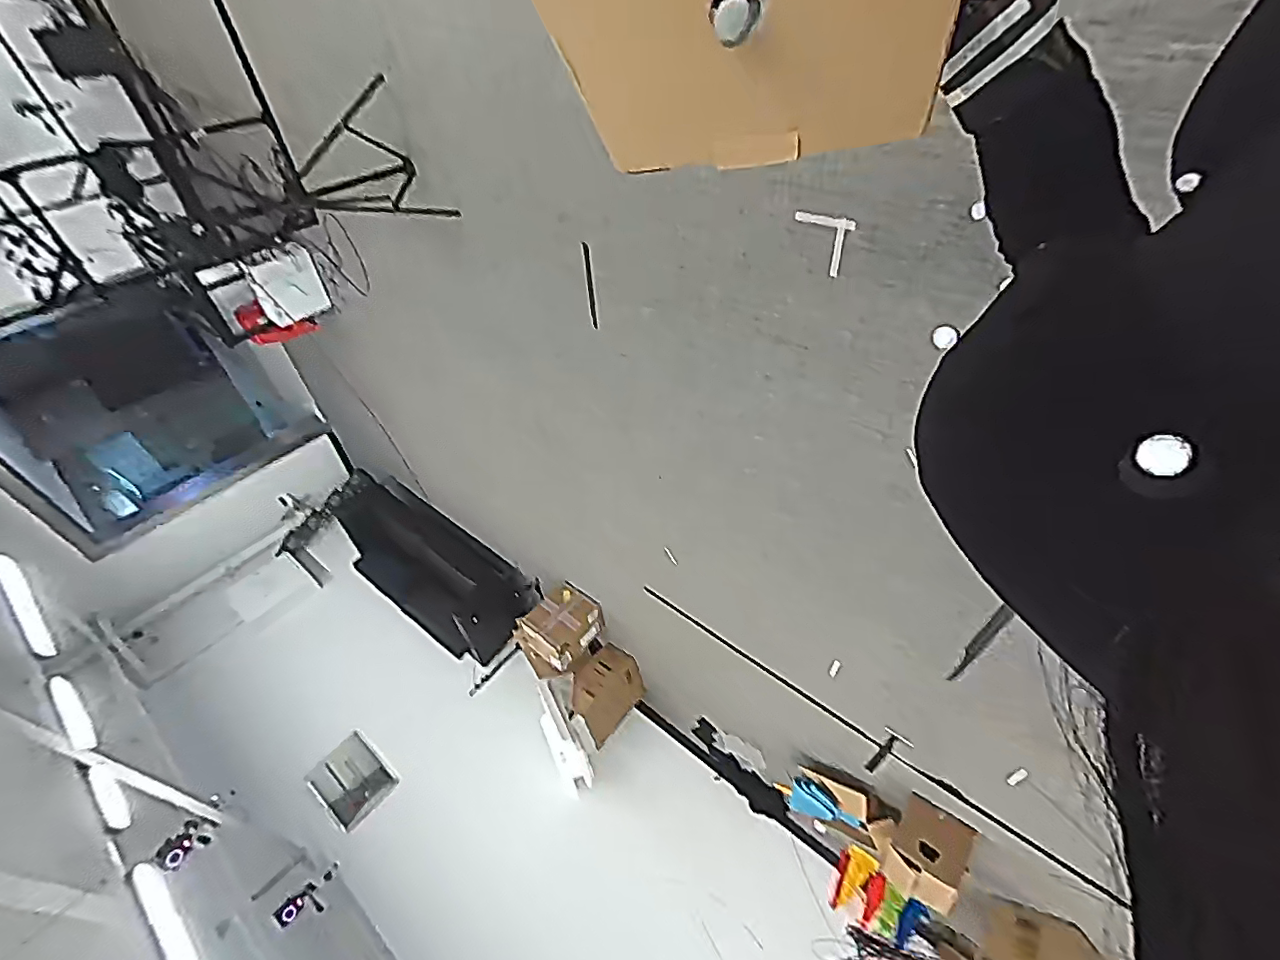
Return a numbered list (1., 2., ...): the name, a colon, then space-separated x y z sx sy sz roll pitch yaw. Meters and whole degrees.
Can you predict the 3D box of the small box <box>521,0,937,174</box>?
1. small box: 0.036 -0.268 0.219 0.168 0.179 0.176 4 172 19
